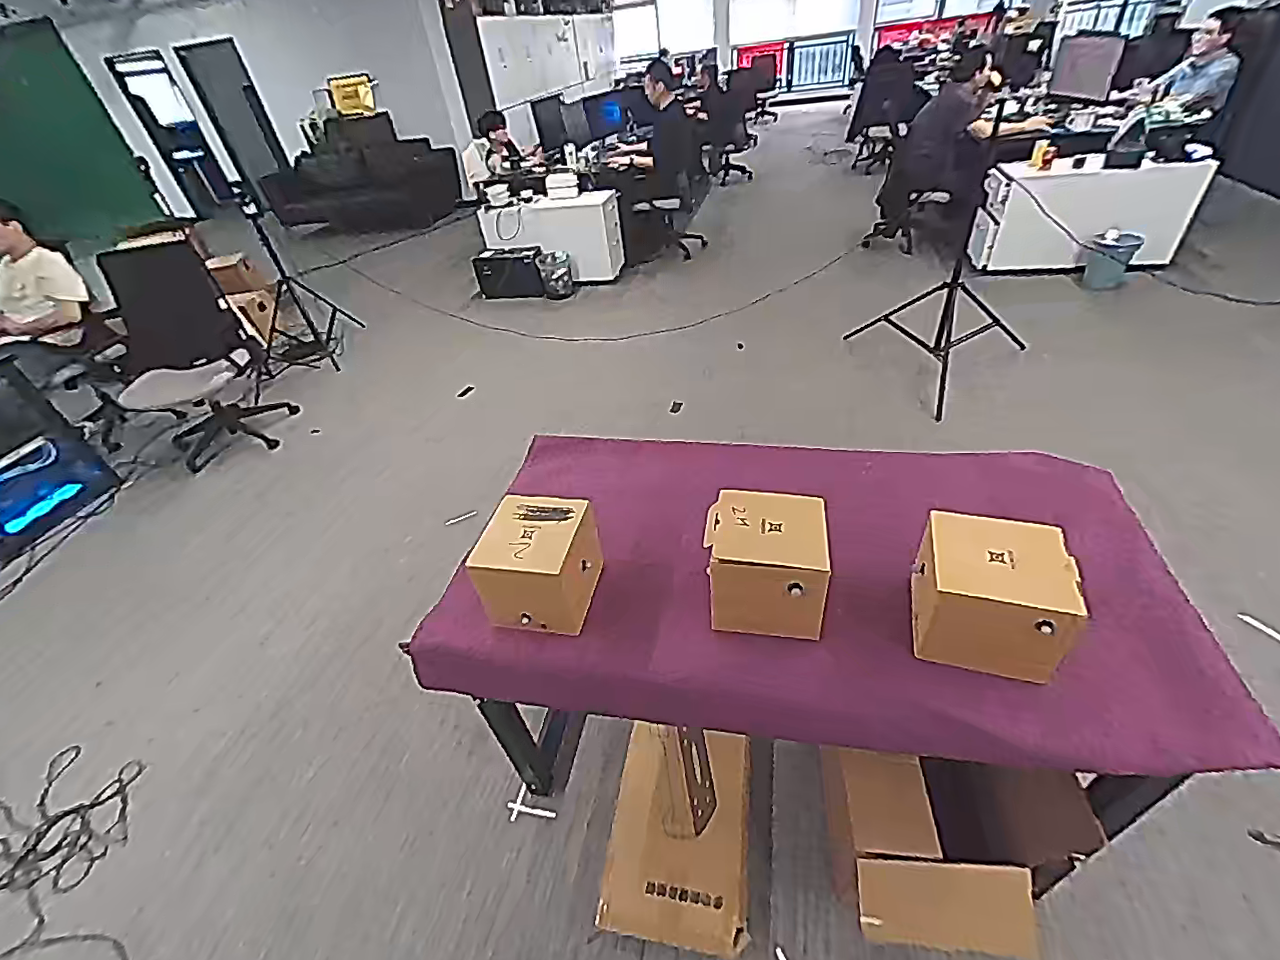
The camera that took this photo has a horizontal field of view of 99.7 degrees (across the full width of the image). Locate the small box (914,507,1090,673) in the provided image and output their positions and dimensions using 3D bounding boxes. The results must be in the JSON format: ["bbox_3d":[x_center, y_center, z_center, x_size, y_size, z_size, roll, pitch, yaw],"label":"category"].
[{"bbox_3d":[0.521,0.165,0.814,0.179,0.176,0.168,7,42,18],"label":"small box"}]

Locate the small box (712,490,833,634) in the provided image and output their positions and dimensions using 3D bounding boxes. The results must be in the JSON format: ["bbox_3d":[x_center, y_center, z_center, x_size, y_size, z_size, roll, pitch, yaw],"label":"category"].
[{"bbox_3d":[0.216,0.137,0.901,0.179,0.176,0.168,2,38,13],"label":"small box"}]
